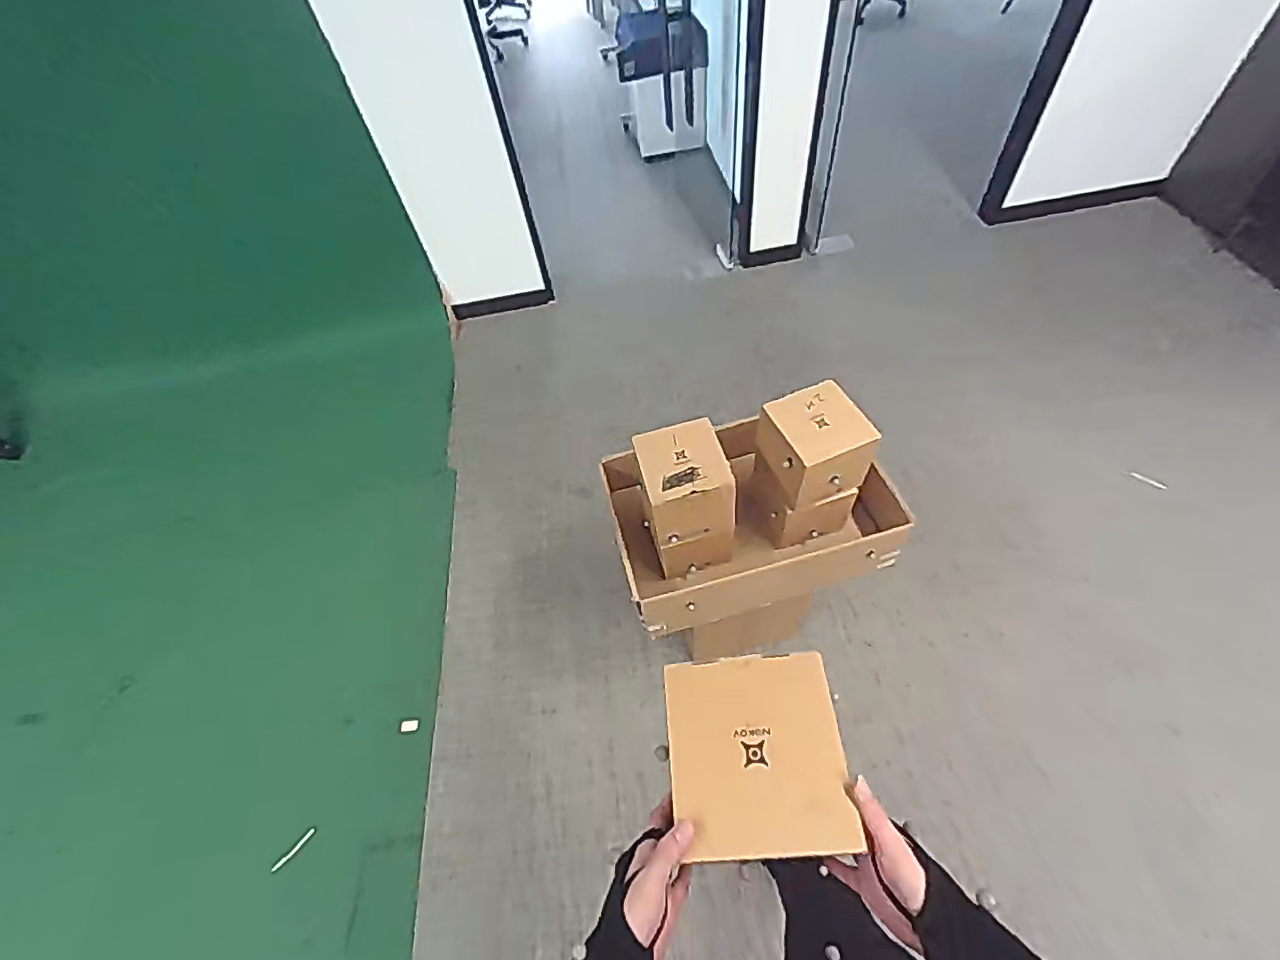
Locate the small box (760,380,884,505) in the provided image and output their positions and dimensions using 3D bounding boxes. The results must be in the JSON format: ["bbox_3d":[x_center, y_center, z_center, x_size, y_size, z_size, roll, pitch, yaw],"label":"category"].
[{"bbox_3d":[0.363,-0.068,1.116,0.168,0.176,0.179,-20,55,-8],"label":"small box"}]

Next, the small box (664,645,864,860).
[{"bbox_3d":[0.120,0.293,0.573,0.168,0.176,0.179,-7,53,5],"label":"small box"}]

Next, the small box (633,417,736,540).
[{"bbox_3d":[0.092,0.005,1.100,0.168,0.176,0.179,-14,53,-2],"label":"small box"}]
